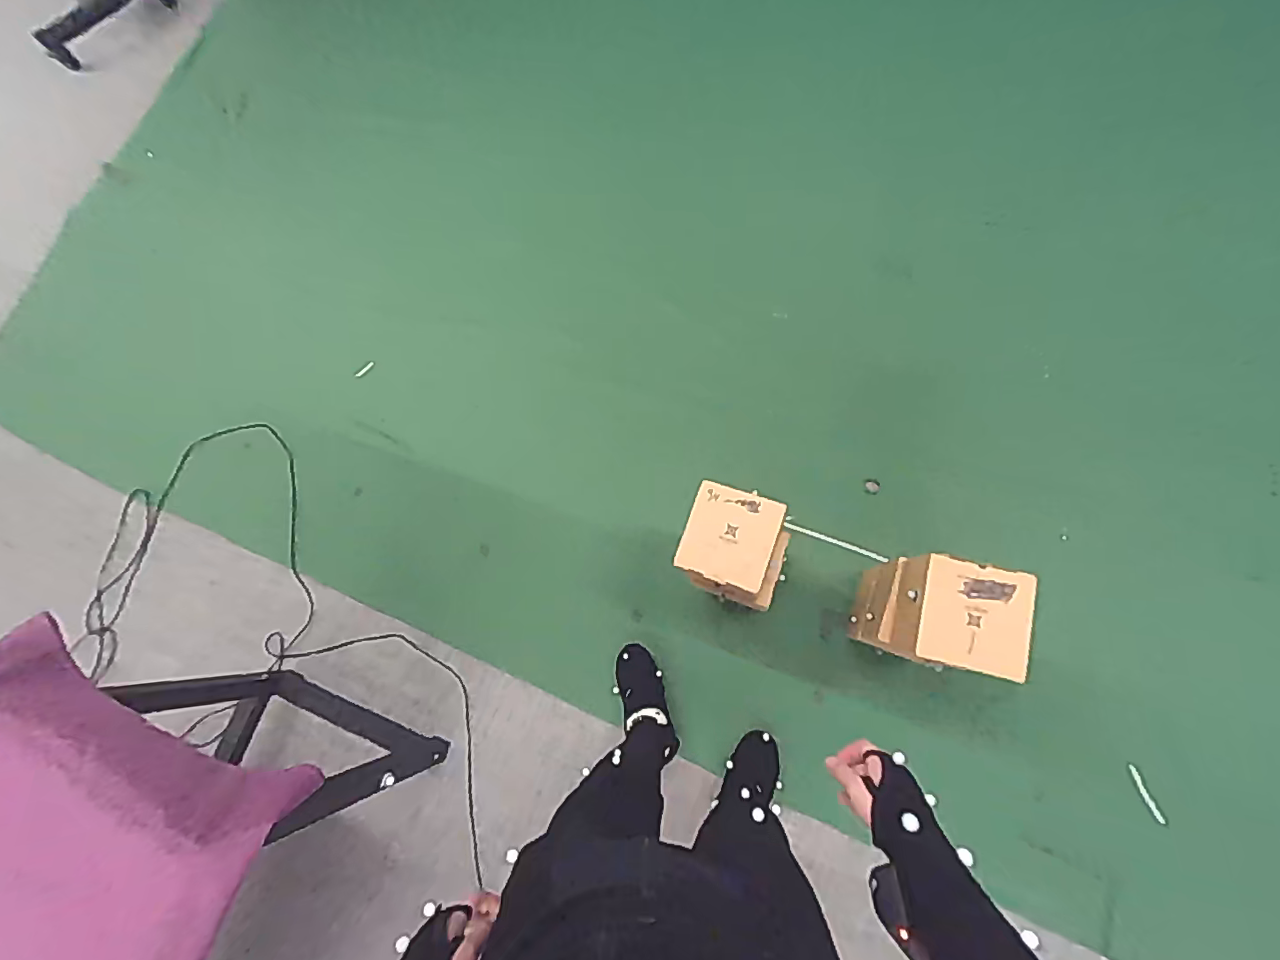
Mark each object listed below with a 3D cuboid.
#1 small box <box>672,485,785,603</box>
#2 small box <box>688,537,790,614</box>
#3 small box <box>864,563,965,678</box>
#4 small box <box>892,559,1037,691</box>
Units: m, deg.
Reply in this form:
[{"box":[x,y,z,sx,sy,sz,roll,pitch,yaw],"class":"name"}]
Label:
[{"box":[0.180,0.134,1.065,0.168,0.176,0.179,18,79,16],"class":"small box"},{"box":[0.223,0.197,1.212,0.179,0.176,0.168,17,78,15],"class":"small box"},{"box":[0.578,0.287,1.116,0.168,0.176,0.179,18,79,14],"class":"small box"},{"box":[0.562,0.251,0.957,0.168,0.176,0.179,12,80,13],"class":"small box"}]
